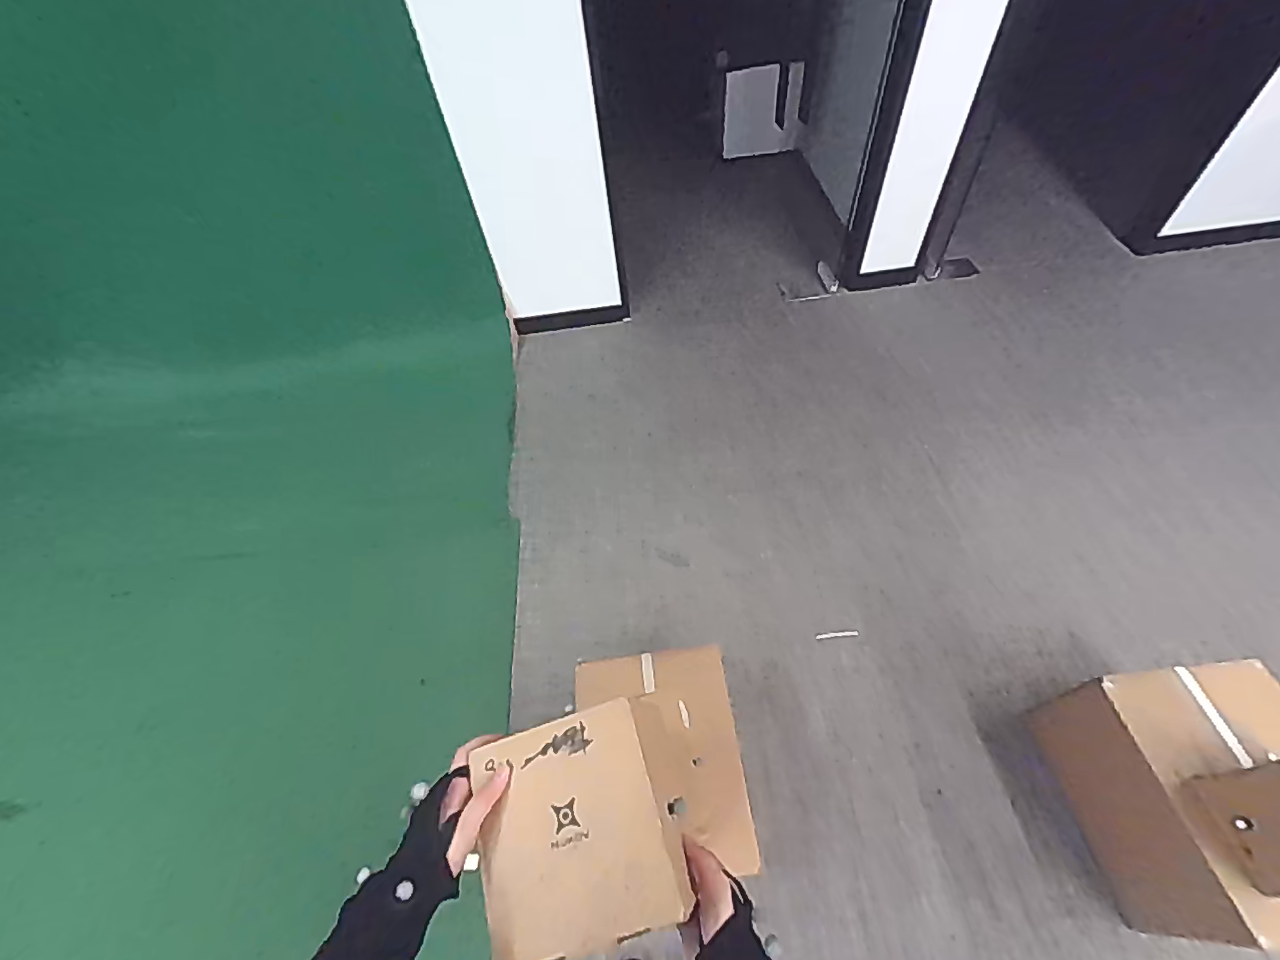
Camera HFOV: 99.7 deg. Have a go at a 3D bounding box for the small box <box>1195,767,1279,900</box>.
[{"bbox_3d":[1.033,0.528,0.820,0.179,0.176,0.168,-10,54,0],"label":"small box"}]

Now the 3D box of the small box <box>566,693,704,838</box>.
[{"bbox_3d":[-0.004,0.436,0.788,0.168,0.176,0.179,-12,53,-3],"label":"small box"}]

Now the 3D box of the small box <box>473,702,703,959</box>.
[{"bbox_3d":[-0.044,0.338,0.543,0.168,0.176,0.179,-20,62,3],"label":"small box"}]

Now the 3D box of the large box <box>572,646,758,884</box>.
[{"bbox_3d":[0.044,0.622,1.154,0.320,0.320,0.408,-8,53,0],"label":"large box"}]
